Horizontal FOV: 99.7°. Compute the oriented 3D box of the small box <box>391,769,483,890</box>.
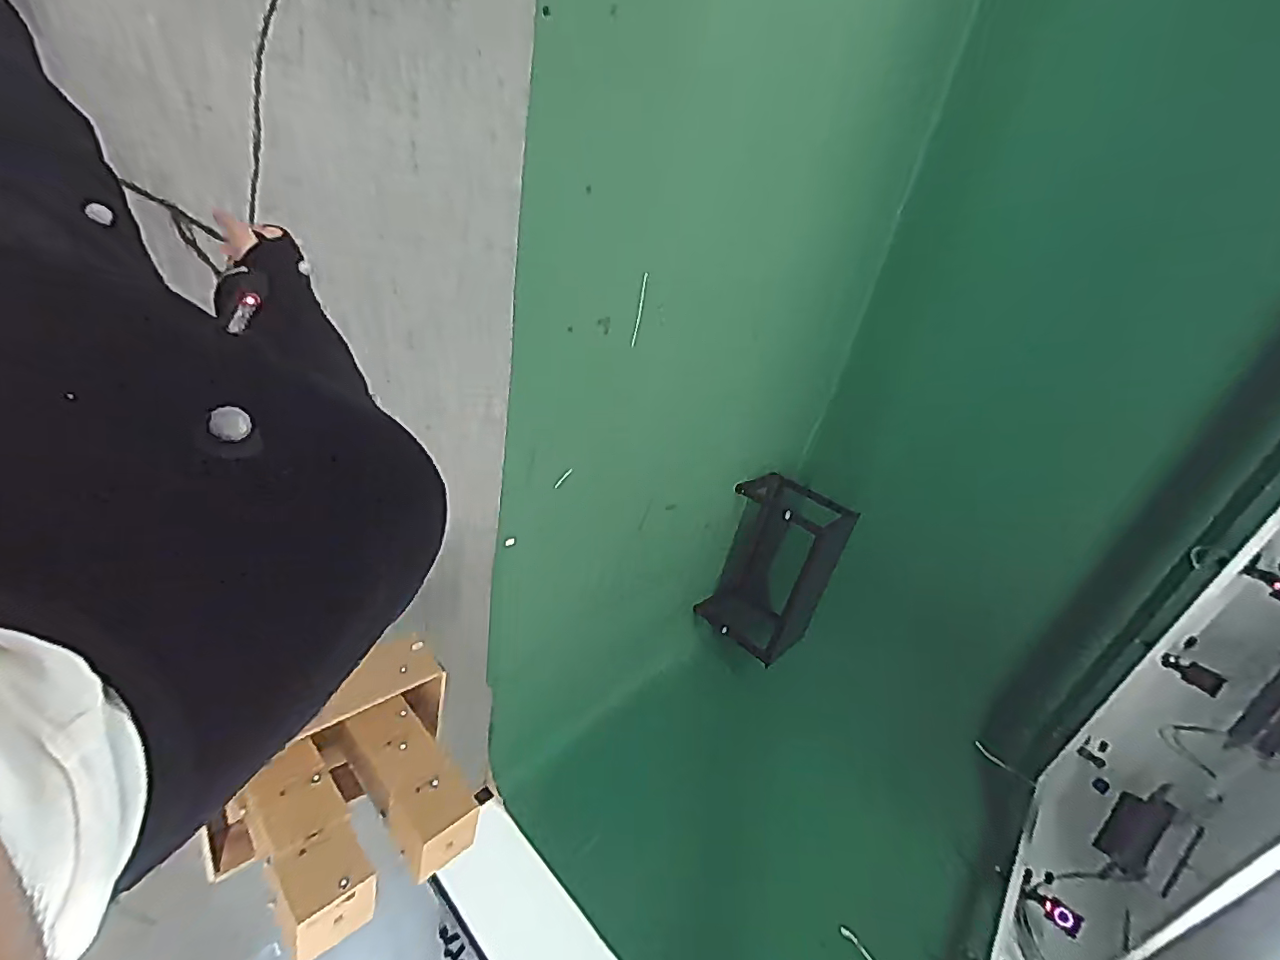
[{"bbox_3d":[-0.550,0.929,1.452,0.168,0.176,0.179,-14,127,-48],"label":"small box"}]

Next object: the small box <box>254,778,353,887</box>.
[{"bbox_3d":[-0.837,0.880,1.341,0.168,0.176,0.179,-12,126,-48],"label":"small box"}]

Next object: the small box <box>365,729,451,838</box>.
[{"bbox_3d":[-0.665,0.856,1.542,0.168,0.176,0.179,-15,128,-47],"label":"small box"}]

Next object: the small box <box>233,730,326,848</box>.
[{"bbox_3d":[-0.953,0.807,1.431,0.168,0.176,0.179,-13,125,-48],"label":"small box"}]

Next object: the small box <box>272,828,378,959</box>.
[{"bbox_3d":[-0.728,0.960,1.246,0.168,0.176,0.179,-12,126,-48],"label":"small box"}]
